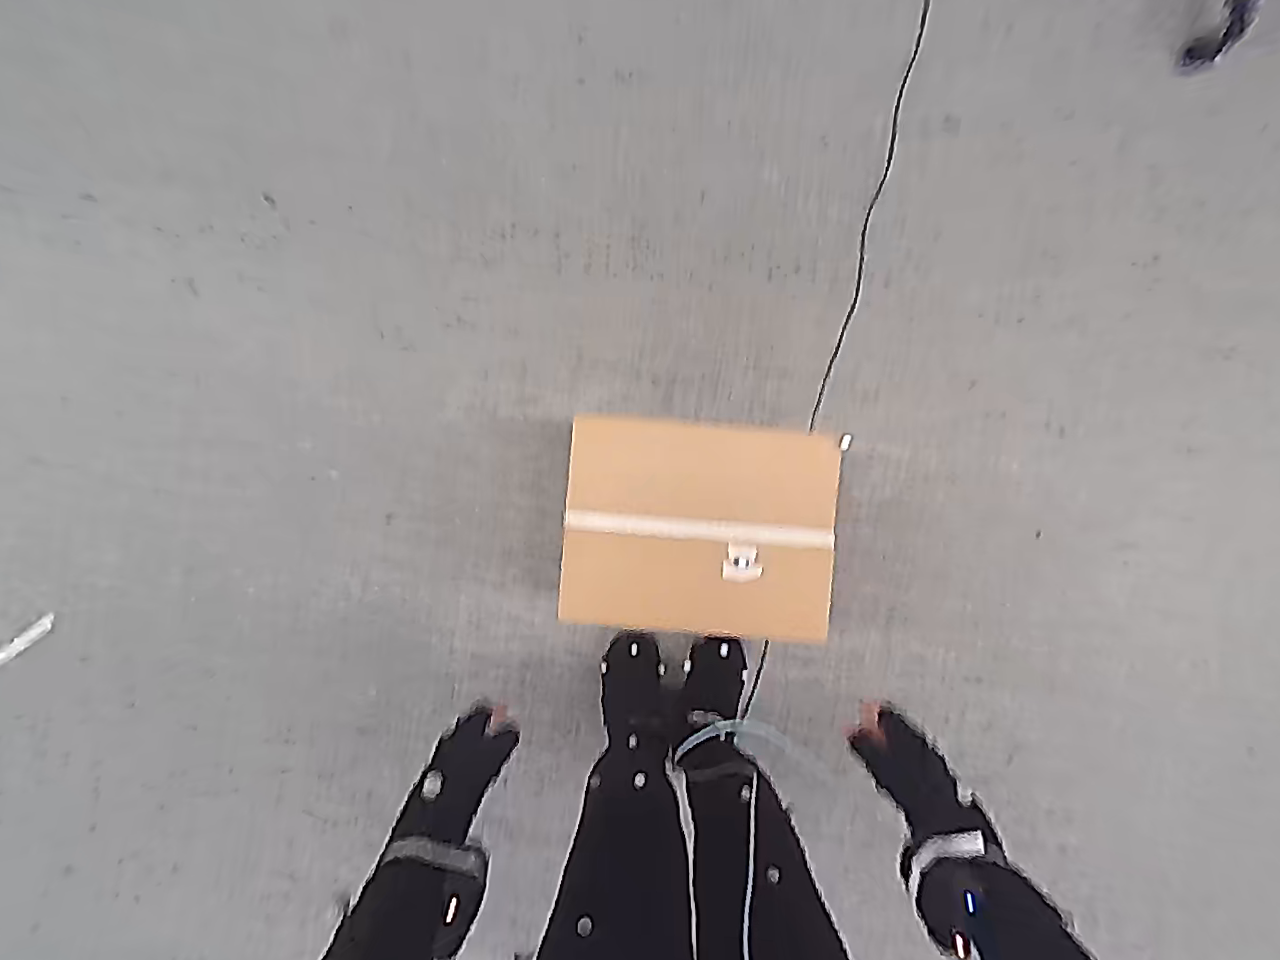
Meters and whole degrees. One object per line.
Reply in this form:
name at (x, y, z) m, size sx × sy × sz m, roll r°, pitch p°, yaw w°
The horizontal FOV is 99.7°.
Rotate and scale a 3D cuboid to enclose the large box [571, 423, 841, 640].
large box at (0.101, 0.083, 0.975) m, size 0.408 × 0.320 × 0.320 m, roll 5°, pitch 89°, yaw 0°
